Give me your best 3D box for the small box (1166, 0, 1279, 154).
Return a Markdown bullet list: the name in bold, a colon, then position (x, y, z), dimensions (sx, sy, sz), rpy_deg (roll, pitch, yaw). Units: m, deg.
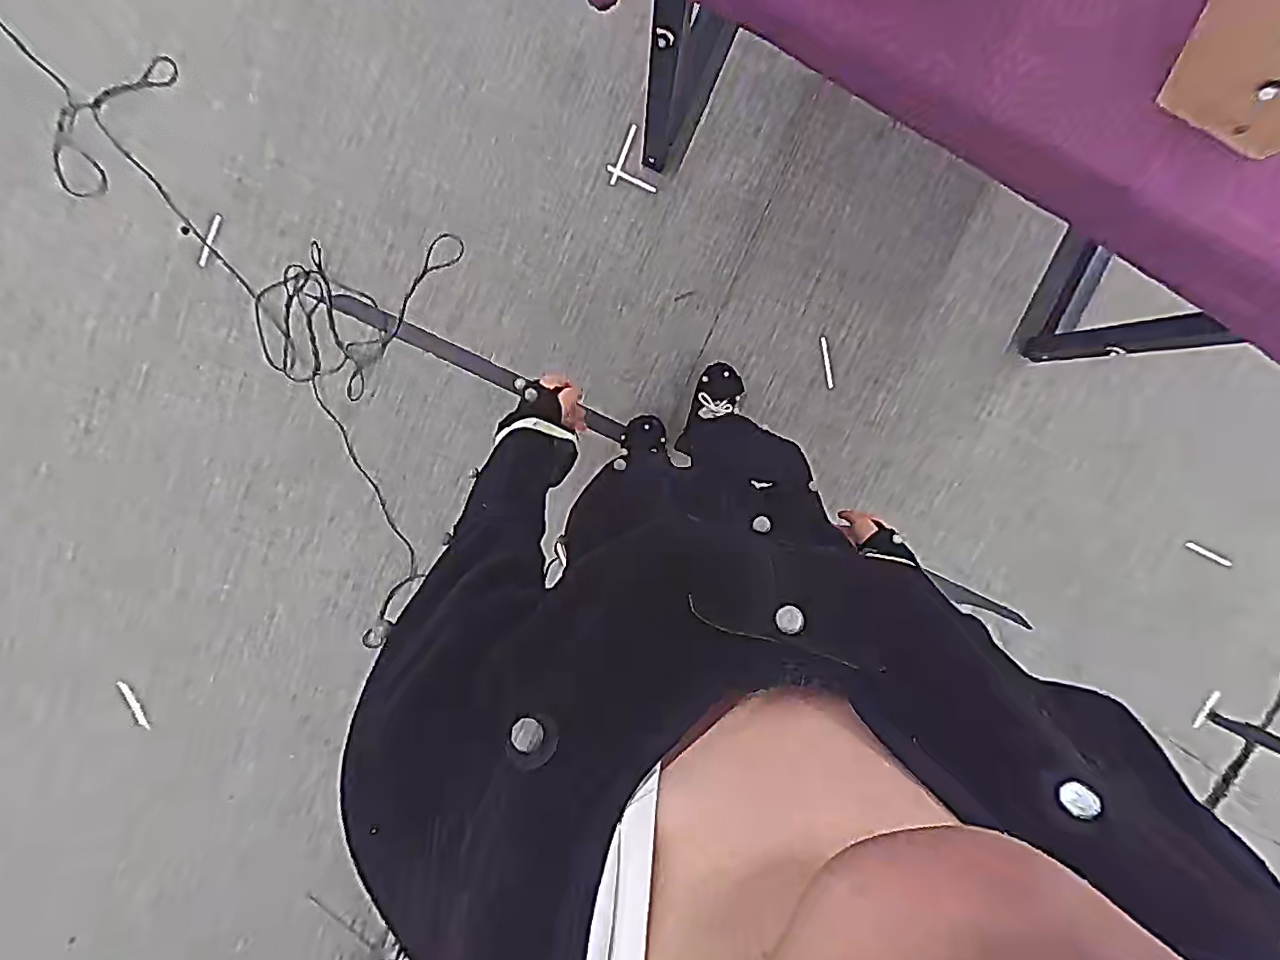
- **small box**: position (0.780, -0.522, 0.623), dimensions (0.168, 0.176, 0.179), rpy_deg (24, 96, -5)
